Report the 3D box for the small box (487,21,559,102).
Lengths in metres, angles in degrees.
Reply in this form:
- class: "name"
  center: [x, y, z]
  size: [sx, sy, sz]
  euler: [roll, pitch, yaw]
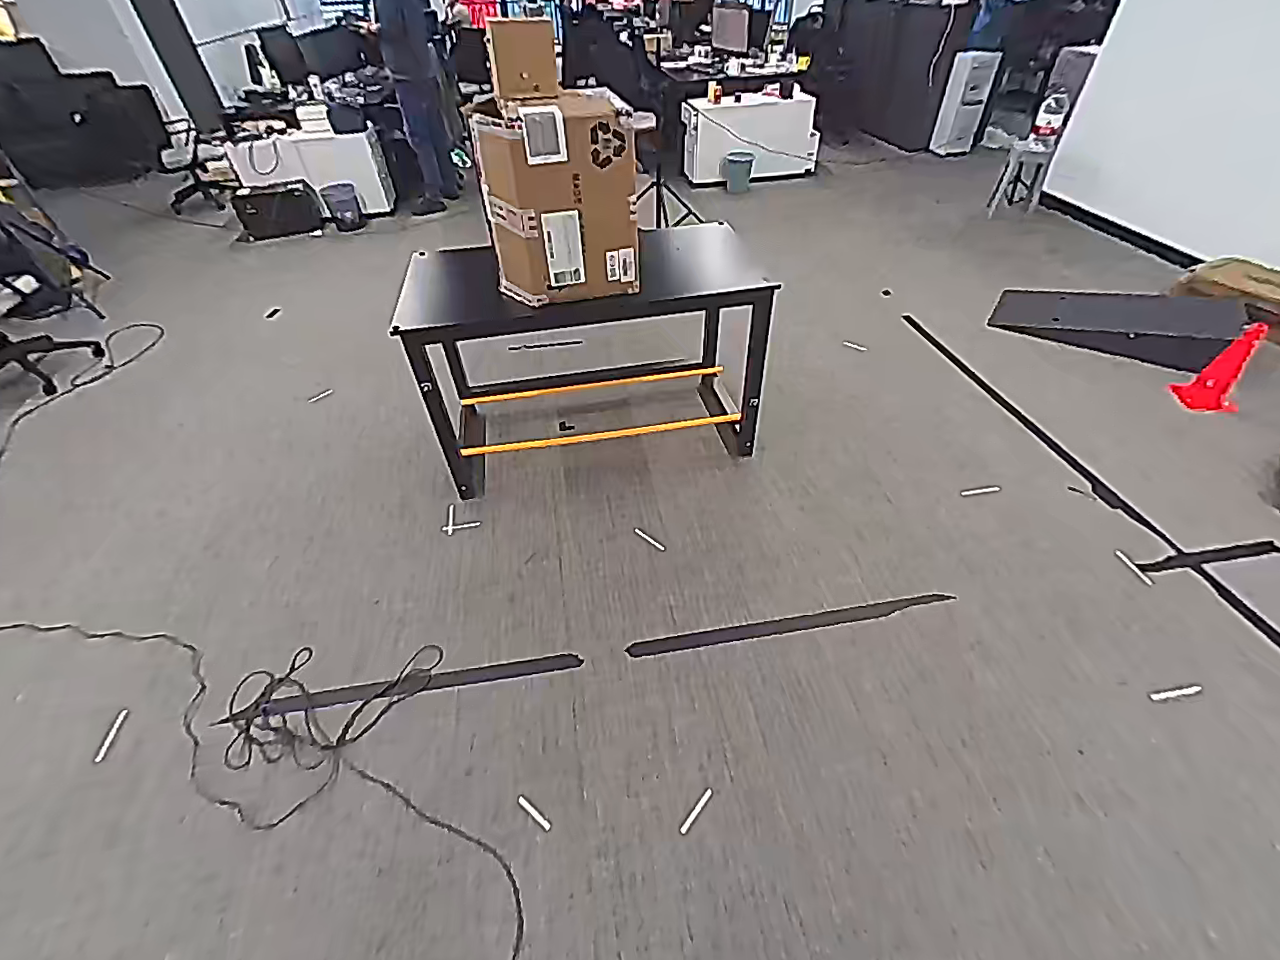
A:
- class: "small box"
  center: [-0.326, -1.165, 1.505]
  size: [0.168, 0.176, 0.179]
  euler: [-11, 43, -11]
